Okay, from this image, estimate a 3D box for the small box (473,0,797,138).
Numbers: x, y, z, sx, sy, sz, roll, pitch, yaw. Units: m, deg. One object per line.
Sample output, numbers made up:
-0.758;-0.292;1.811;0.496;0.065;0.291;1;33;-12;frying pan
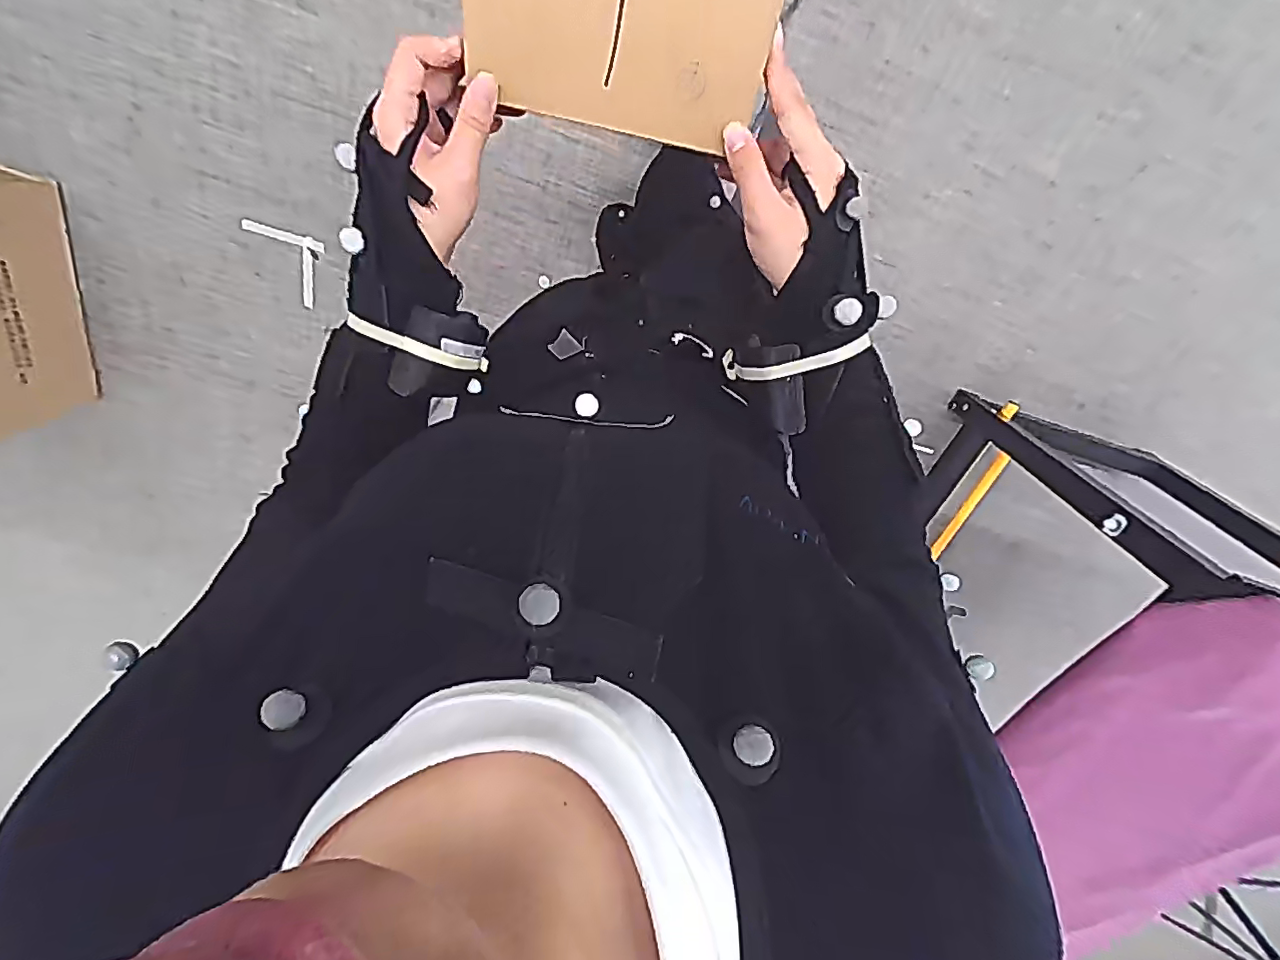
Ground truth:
0.008;-0.330;0.306;0.168;0.176;0.179;10;135;-6;small box
